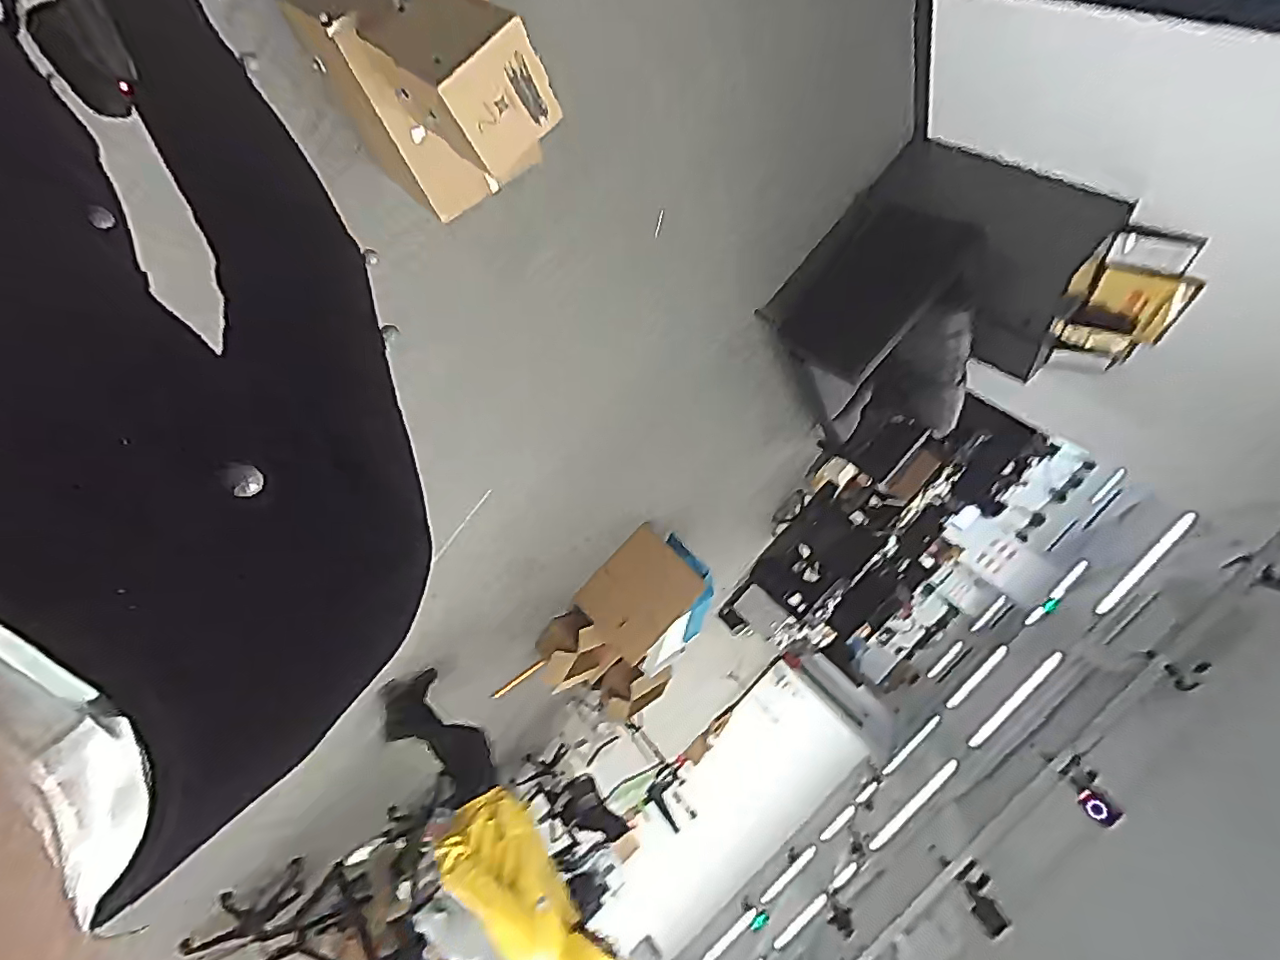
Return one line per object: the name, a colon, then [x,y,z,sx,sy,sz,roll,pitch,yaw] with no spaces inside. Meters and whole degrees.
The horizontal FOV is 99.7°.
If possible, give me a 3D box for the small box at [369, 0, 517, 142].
small box: [-0.371,-0.783,1.006,0.179,0.176,0.168,-44,151,-3]
